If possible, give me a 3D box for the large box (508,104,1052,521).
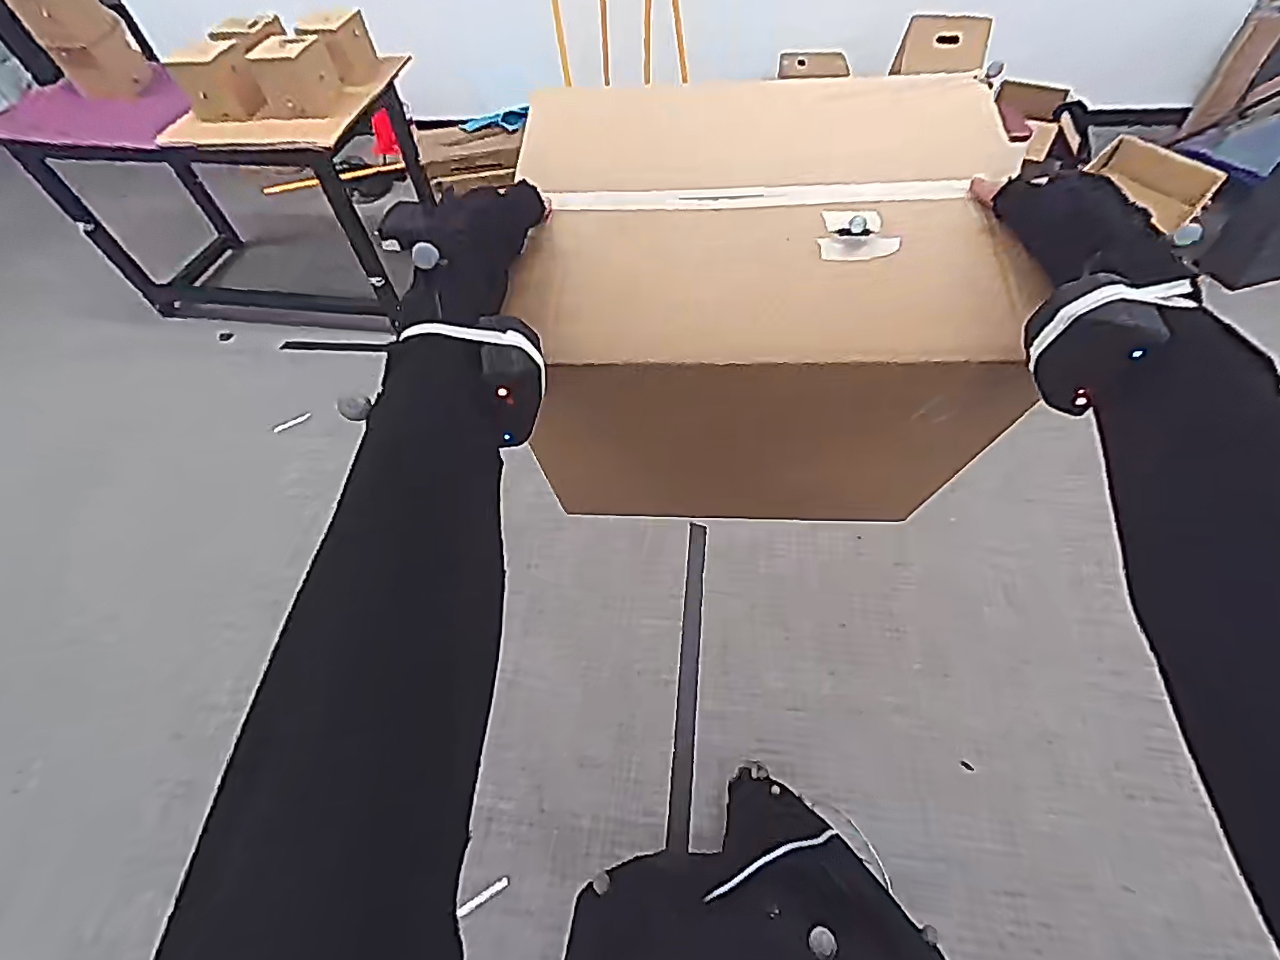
[{"bbox_3d":[0.106,-0.151,0.590,0.408,0.320,0.320,0,66,4],"label":"large box"}]
